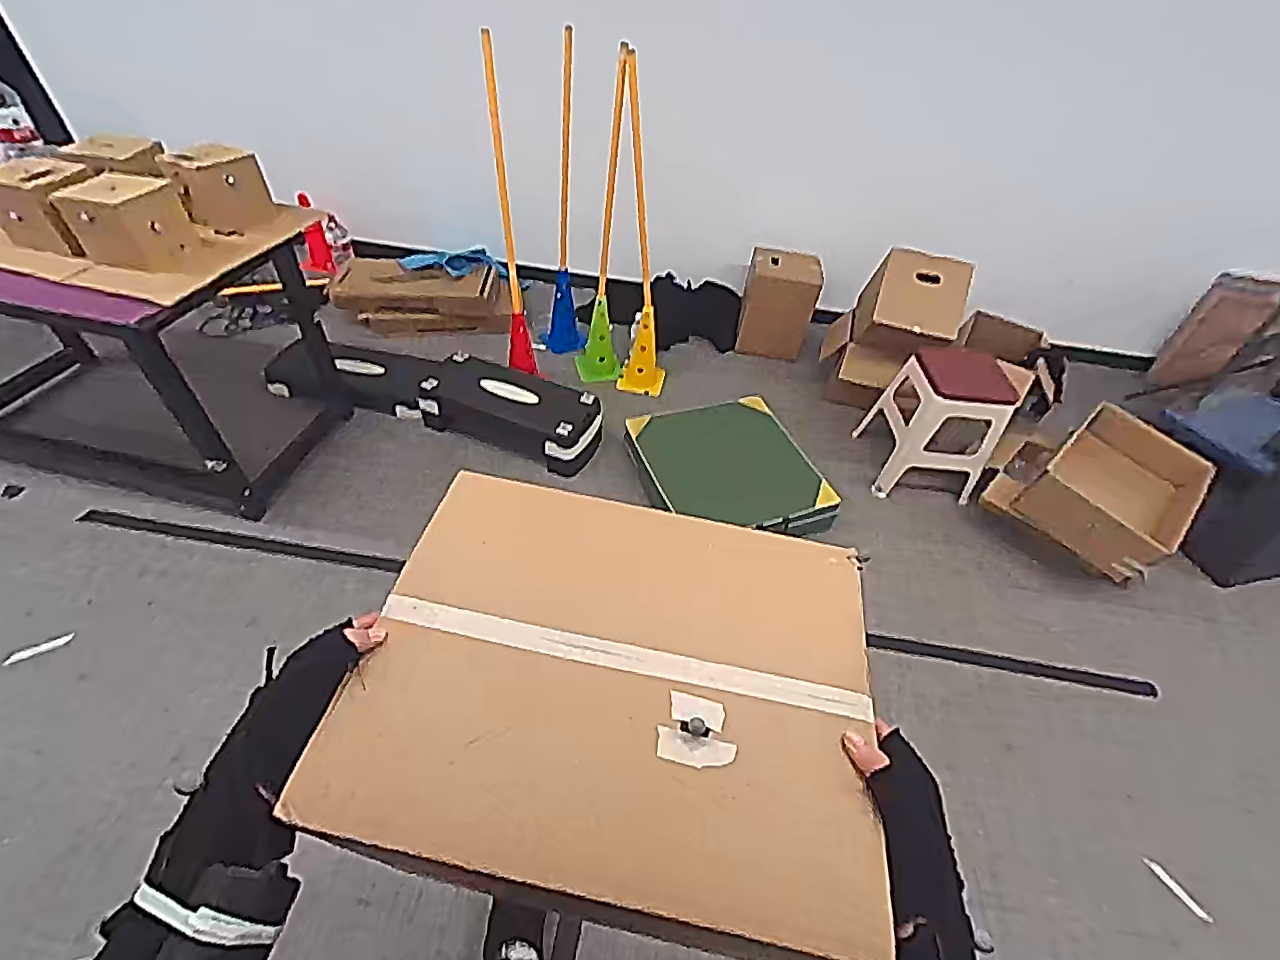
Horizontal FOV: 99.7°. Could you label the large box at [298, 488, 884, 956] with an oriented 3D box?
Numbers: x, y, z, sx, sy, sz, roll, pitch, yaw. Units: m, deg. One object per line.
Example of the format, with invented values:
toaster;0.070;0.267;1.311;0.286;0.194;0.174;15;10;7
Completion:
large box;-0.027;0.251;0.562;0.408;0.320;0.320;11;50;3
